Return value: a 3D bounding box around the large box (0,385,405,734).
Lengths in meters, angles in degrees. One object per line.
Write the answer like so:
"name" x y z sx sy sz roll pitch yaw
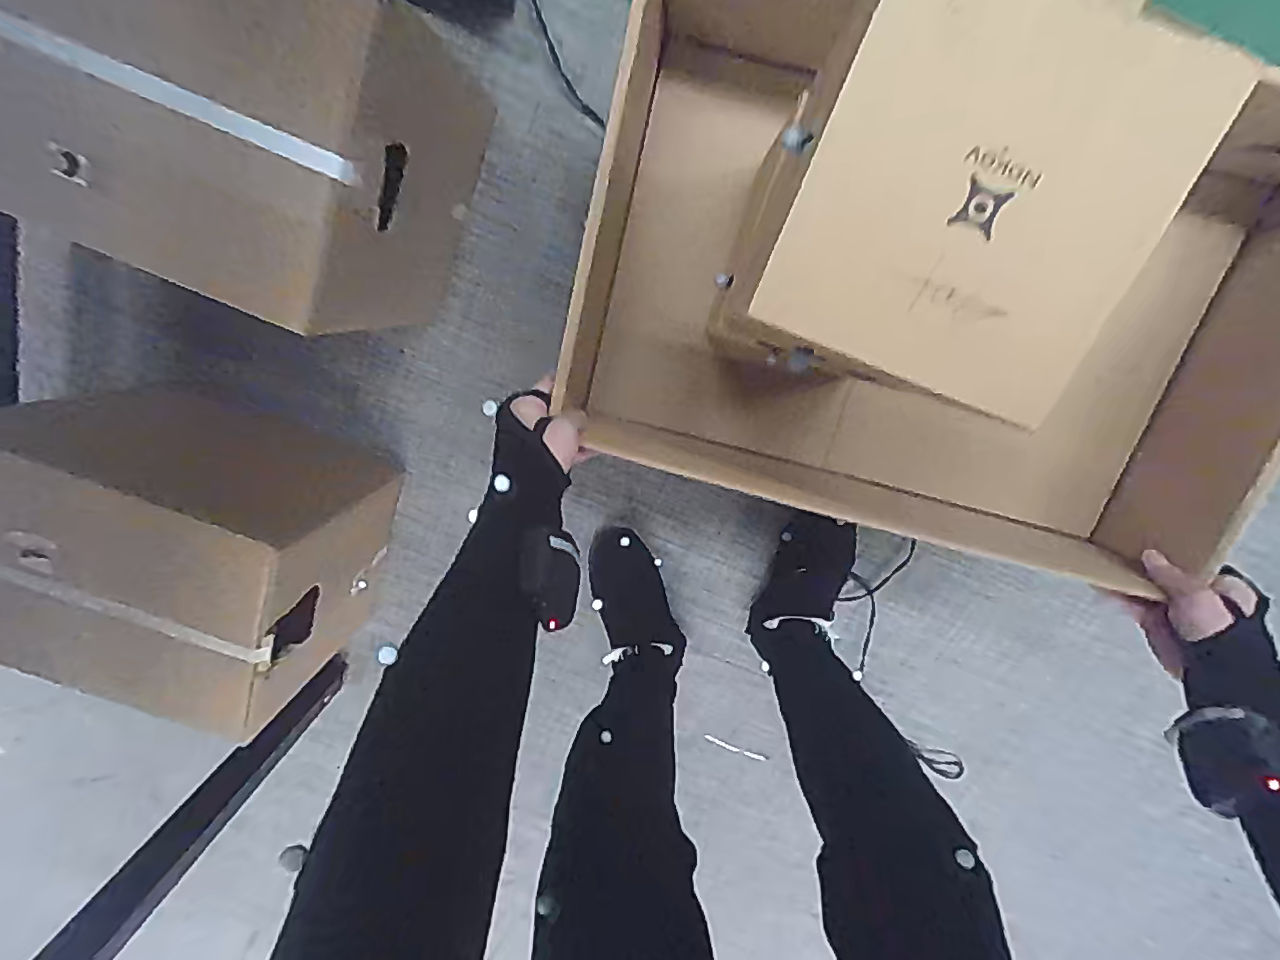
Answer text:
"large box" -0.626 0.089 0.793 0.408 0.320 0.320 20 108 -2

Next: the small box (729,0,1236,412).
"small box" 0.164 -0.165 0.336 0.168 0.176 0.179 21 108 -3
